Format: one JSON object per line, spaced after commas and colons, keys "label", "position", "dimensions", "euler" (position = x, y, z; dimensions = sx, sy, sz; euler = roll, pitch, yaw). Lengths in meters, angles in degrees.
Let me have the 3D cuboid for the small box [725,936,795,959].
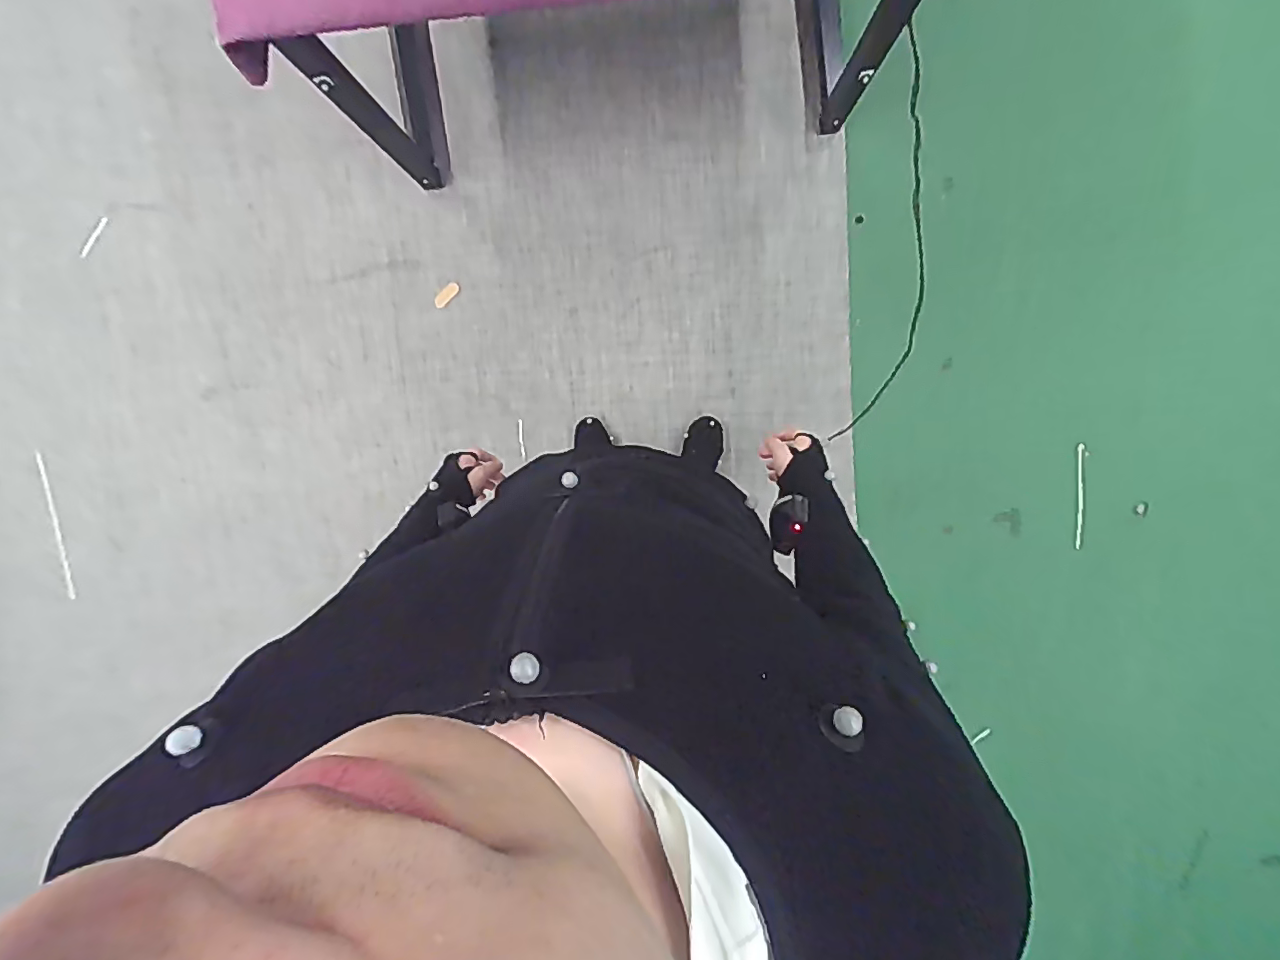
{"label": "small box", "position": [0.298, 1.196, 1.223], "dimensions": [0.179, 0.176, 0.168], "euler": [-30, 96, 5]}
